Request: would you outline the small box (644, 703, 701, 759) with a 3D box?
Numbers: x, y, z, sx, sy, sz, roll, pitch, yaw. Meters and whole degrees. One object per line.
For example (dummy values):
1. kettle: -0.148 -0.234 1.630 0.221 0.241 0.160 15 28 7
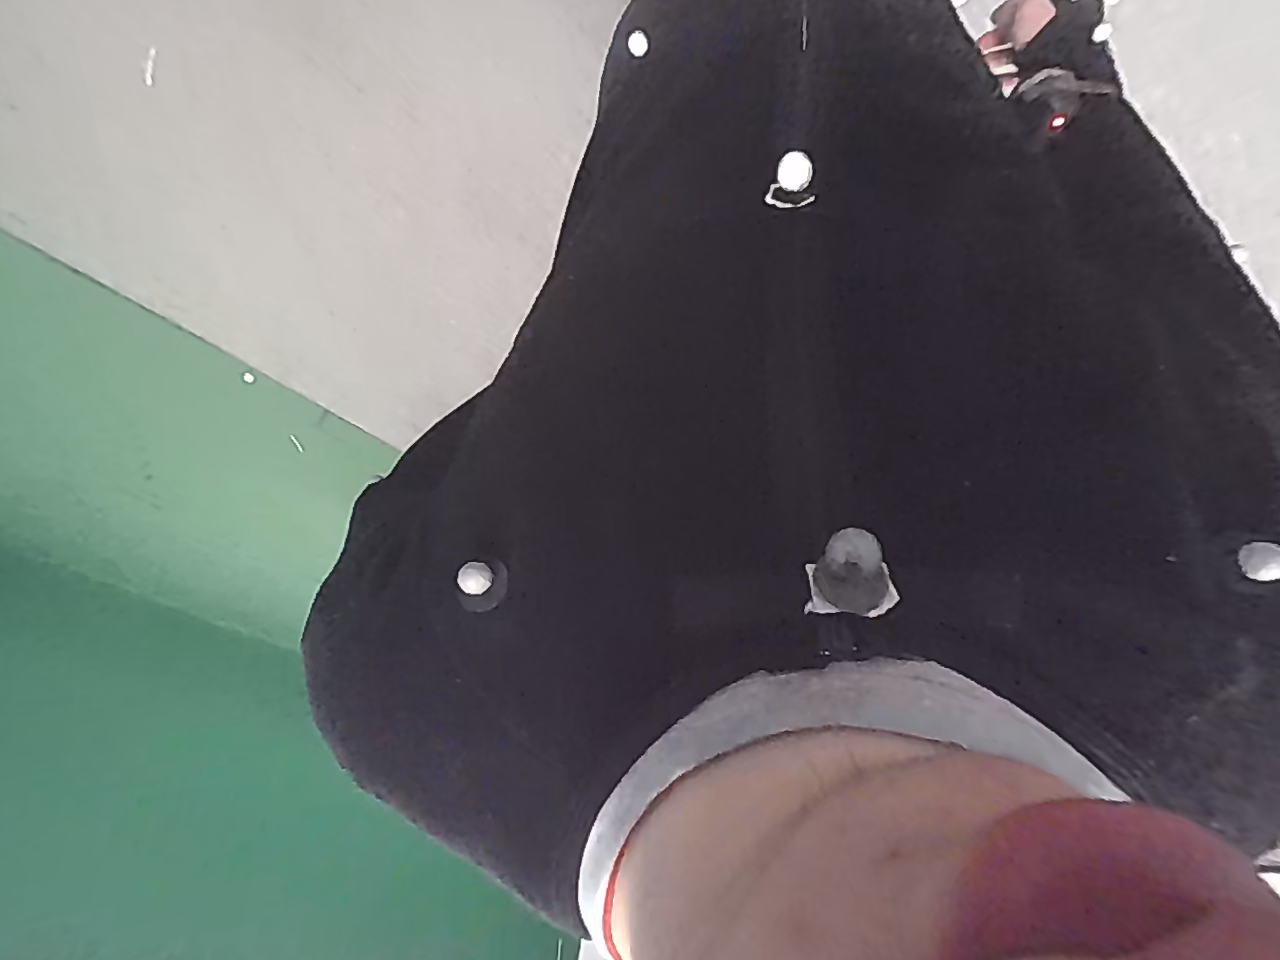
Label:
1. small box: 0.135 1.030 2.222 0.168 0.176 0.179 31 136 -24
